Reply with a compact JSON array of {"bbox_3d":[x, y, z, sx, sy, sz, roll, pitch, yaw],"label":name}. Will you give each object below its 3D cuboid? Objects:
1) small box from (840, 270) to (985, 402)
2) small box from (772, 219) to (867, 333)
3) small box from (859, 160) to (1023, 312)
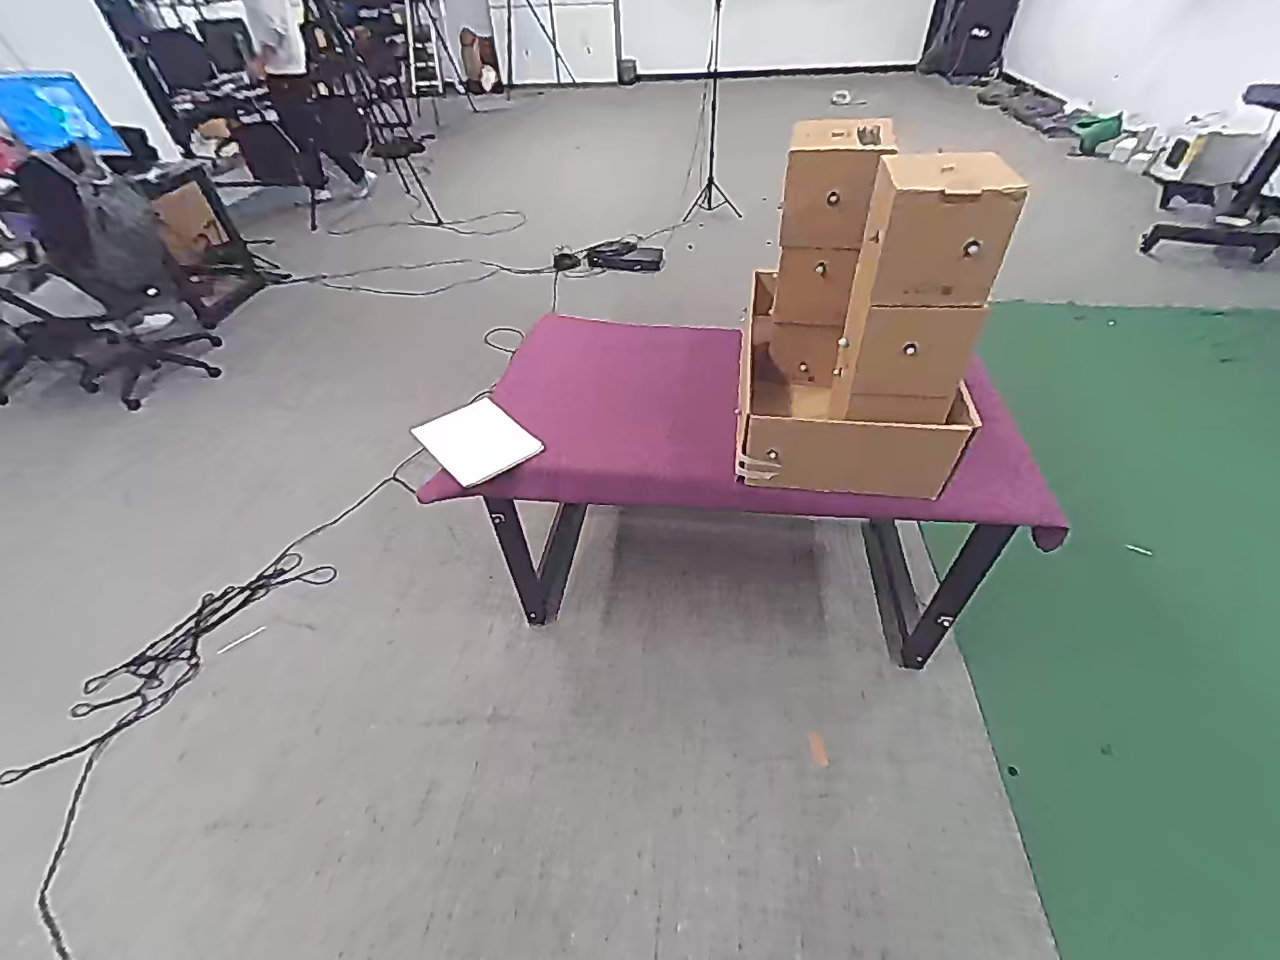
[{"bbox_3d":[0.458,-0.250,0.940,0.179,0.176,0.168,4,44,11],"label":"small box"},{"bbox_3d":[0.380,-0.426,1.133,0.179,0.176,0.168,8,48,13],"label":"small box"},{"bbox_3d":[0.445,-0.373,0.832,0.168,0.176,0.179,5,44,11],"label":"small box"}]
